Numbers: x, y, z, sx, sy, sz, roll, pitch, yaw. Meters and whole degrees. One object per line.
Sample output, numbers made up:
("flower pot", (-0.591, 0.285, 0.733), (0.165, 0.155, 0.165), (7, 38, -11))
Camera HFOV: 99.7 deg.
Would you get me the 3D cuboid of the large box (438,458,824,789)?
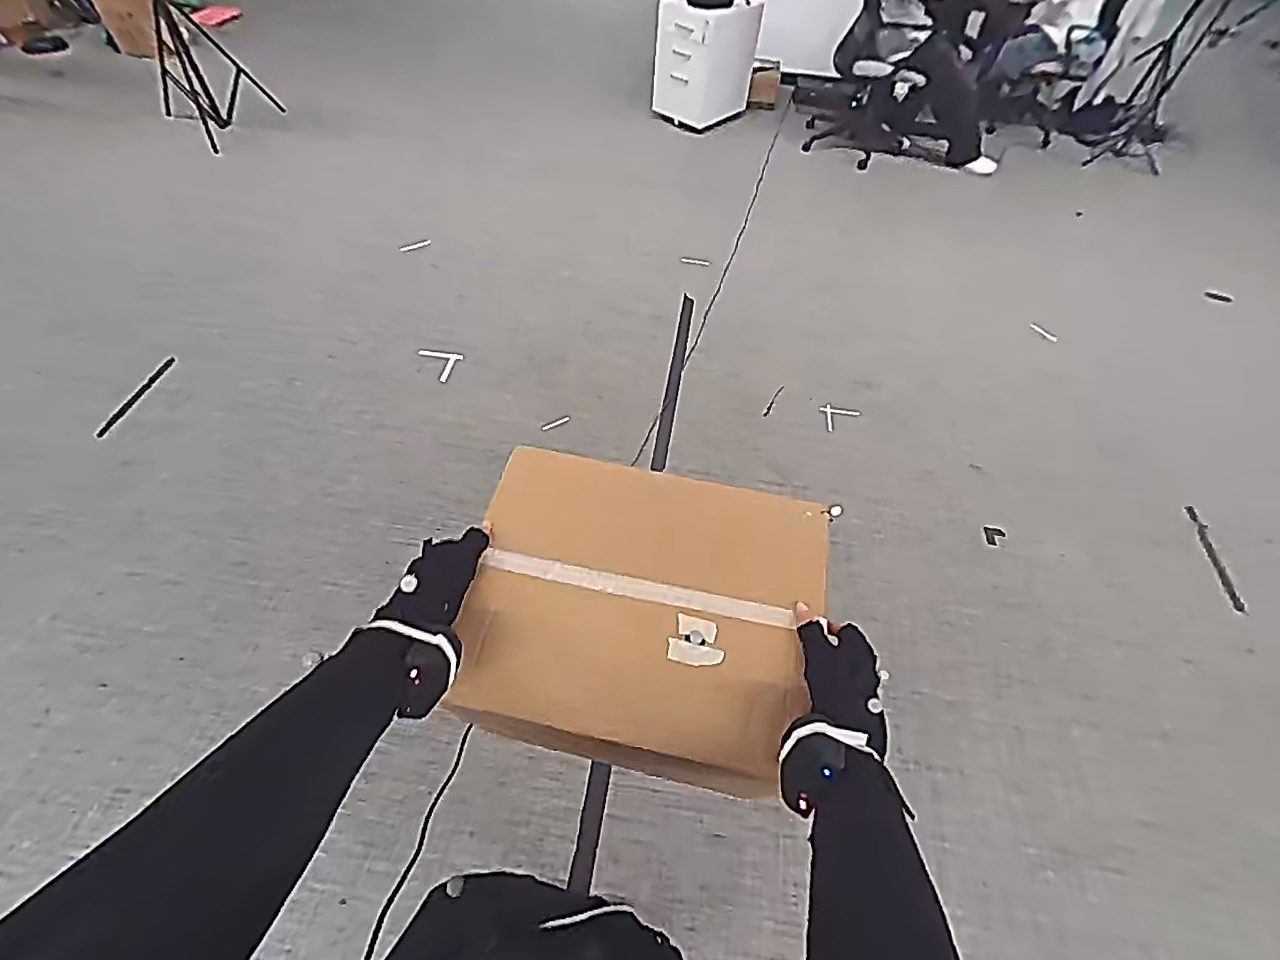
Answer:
("large box", (0.003, 0.209, 0.750), (0.408, 0.320, 0.320), (12, 60, 4))
